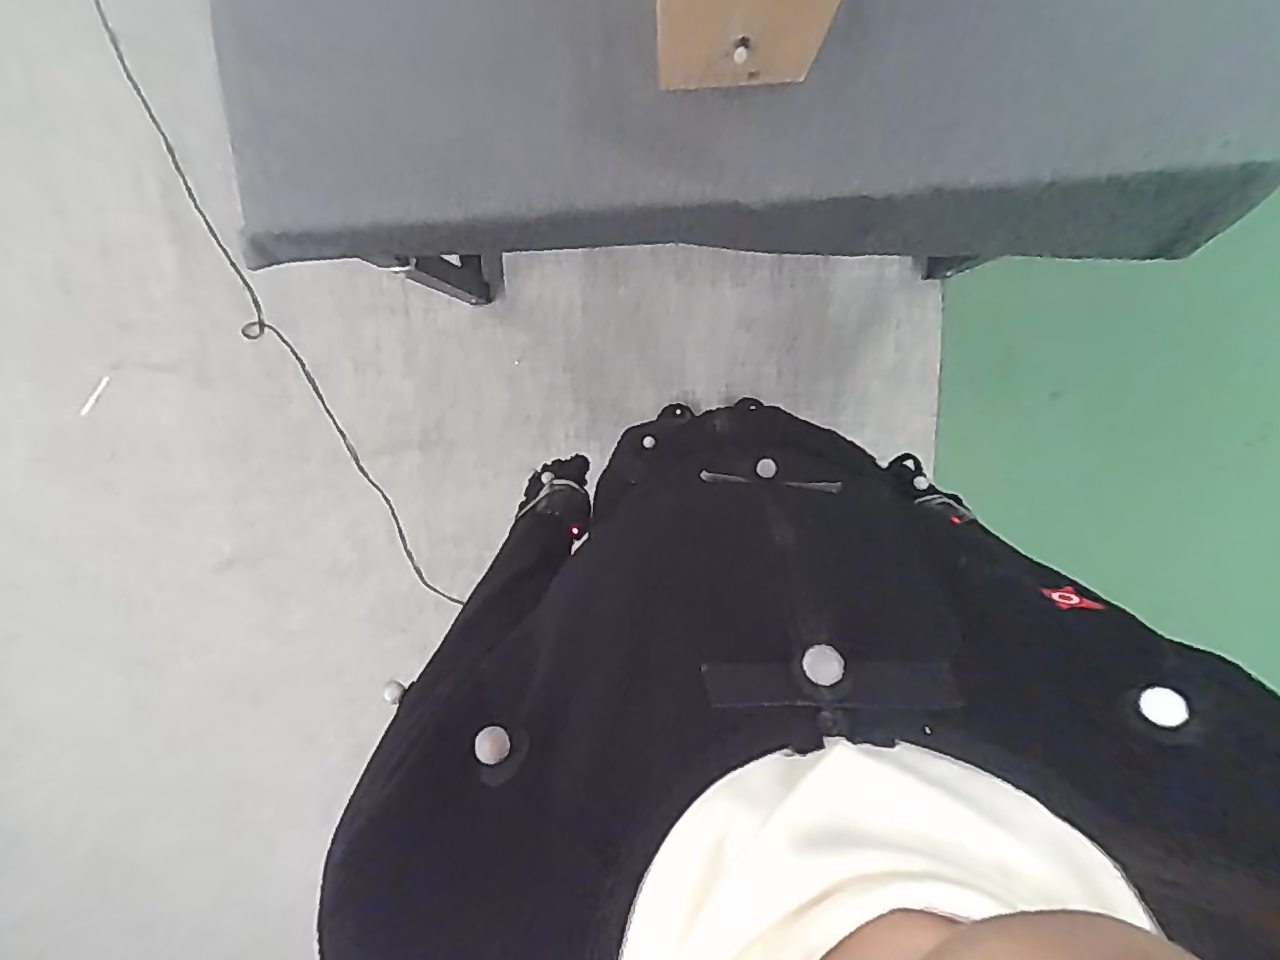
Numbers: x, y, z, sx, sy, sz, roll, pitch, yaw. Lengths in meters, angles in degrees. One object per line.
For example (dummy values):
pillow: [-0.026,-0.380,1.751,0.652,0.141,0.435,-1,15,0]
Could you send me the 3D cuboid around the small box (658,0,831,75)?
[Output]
small box: [0.098,-0.523,0.517,0.168,0.176,0.179,-3,100,4]
